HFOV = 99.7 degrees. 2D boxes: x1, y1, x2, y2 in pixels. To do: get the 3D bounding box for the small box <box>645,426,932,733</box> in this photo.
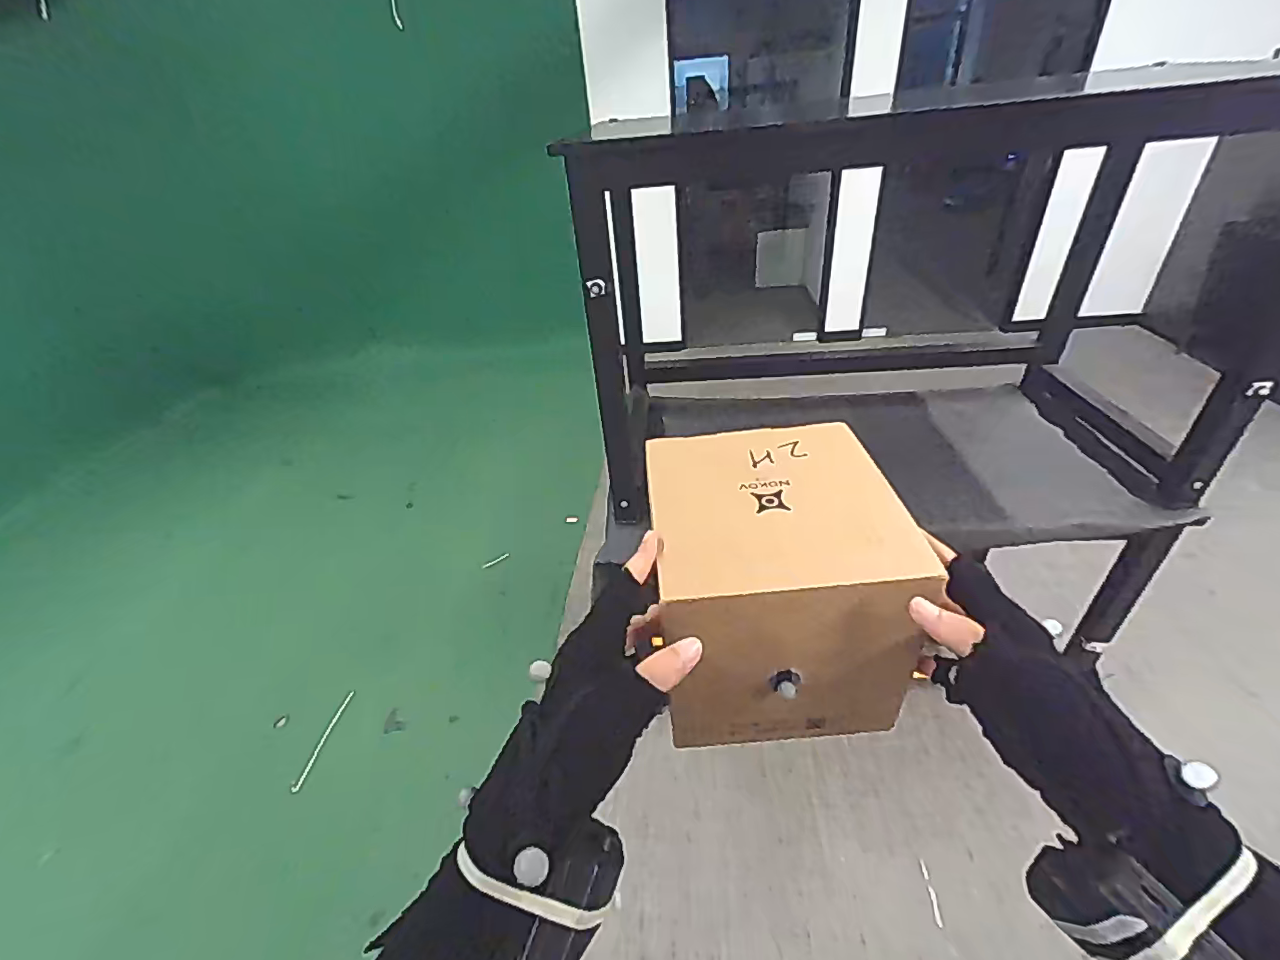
[{"bbox_3d":[0.095,0.079,0.426,0.168,0.176,0.179,-5,35,1],"label":"small box"}]
